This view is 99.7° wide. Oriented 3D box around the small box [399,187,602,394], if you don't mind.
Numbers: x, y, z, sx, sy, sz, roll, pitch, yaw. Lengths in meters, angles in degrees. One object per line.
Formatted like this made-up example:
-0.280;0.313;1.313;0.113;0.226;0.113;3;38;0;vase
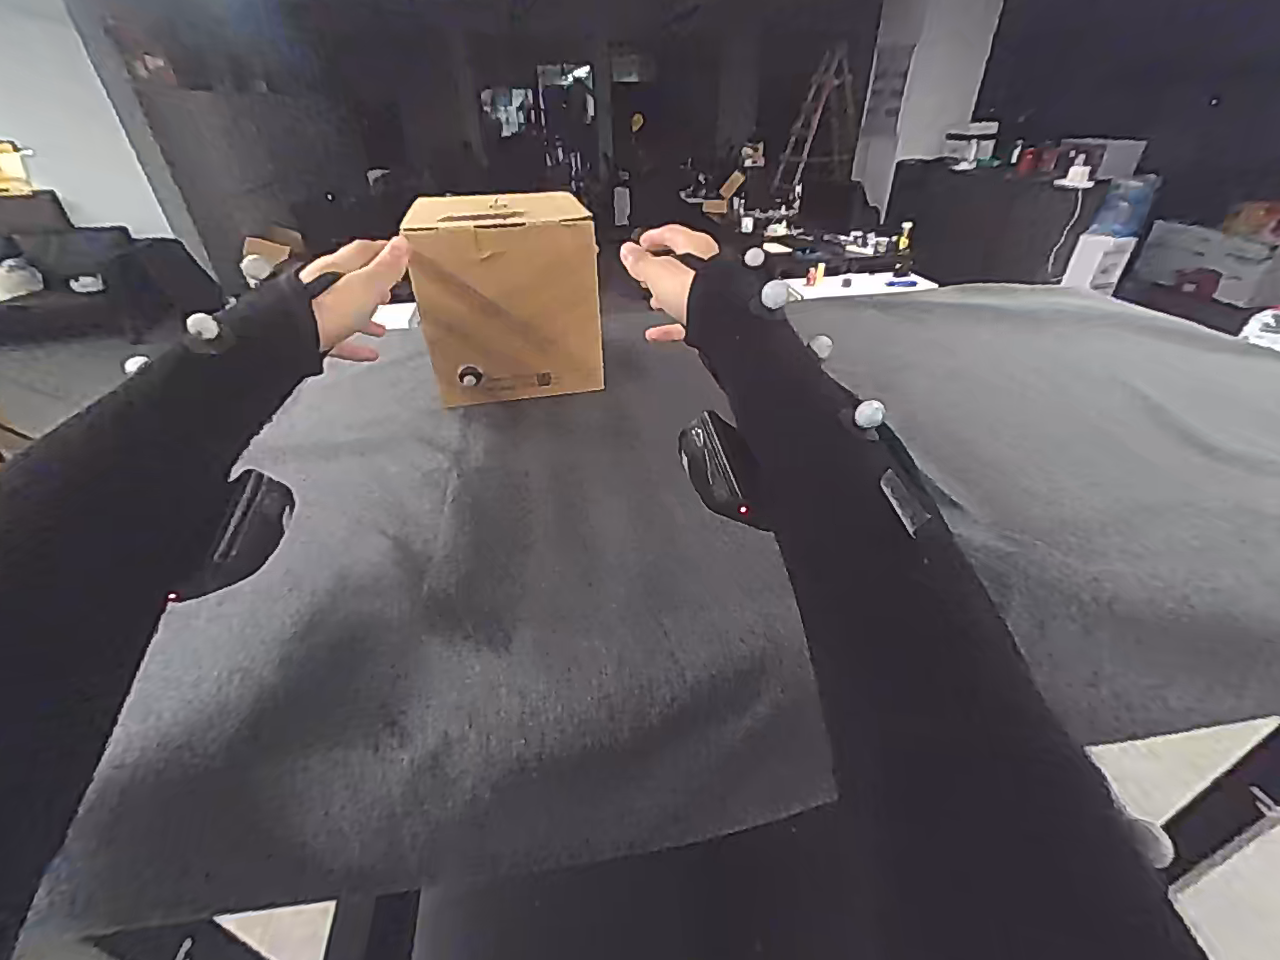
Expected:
-0.136;-0.198;0.569;0.168;0.176;0.179;-8;36;-10;small box
